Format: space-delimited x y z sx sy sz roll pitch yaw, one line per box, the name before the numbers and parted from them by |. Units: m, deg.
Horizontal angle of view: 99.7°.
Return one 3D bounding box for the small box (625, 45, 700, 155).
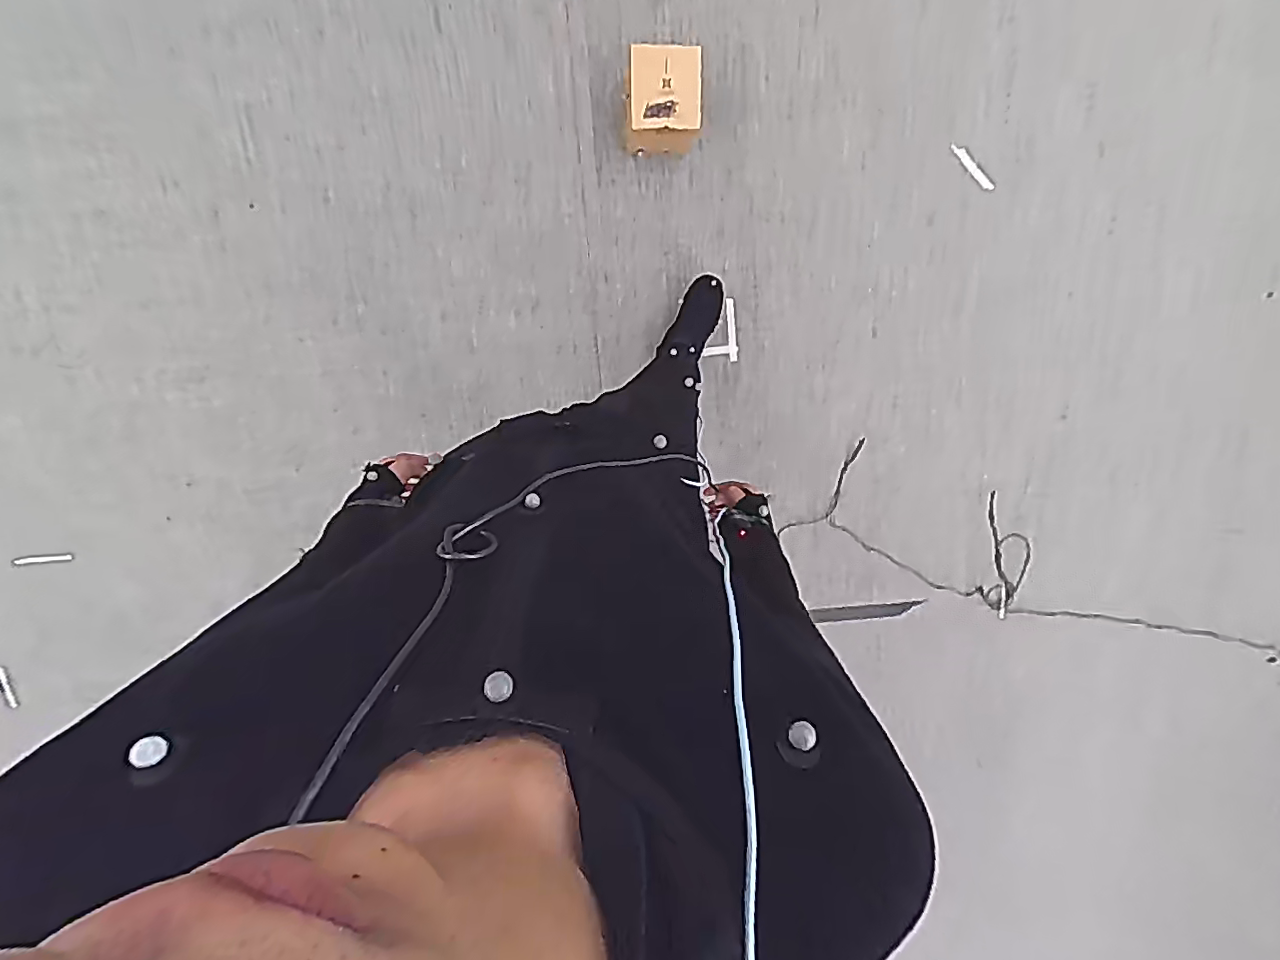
small box | 0.051 -0.921 1.326 0.168 0.176 0.179 -2 102 -4
